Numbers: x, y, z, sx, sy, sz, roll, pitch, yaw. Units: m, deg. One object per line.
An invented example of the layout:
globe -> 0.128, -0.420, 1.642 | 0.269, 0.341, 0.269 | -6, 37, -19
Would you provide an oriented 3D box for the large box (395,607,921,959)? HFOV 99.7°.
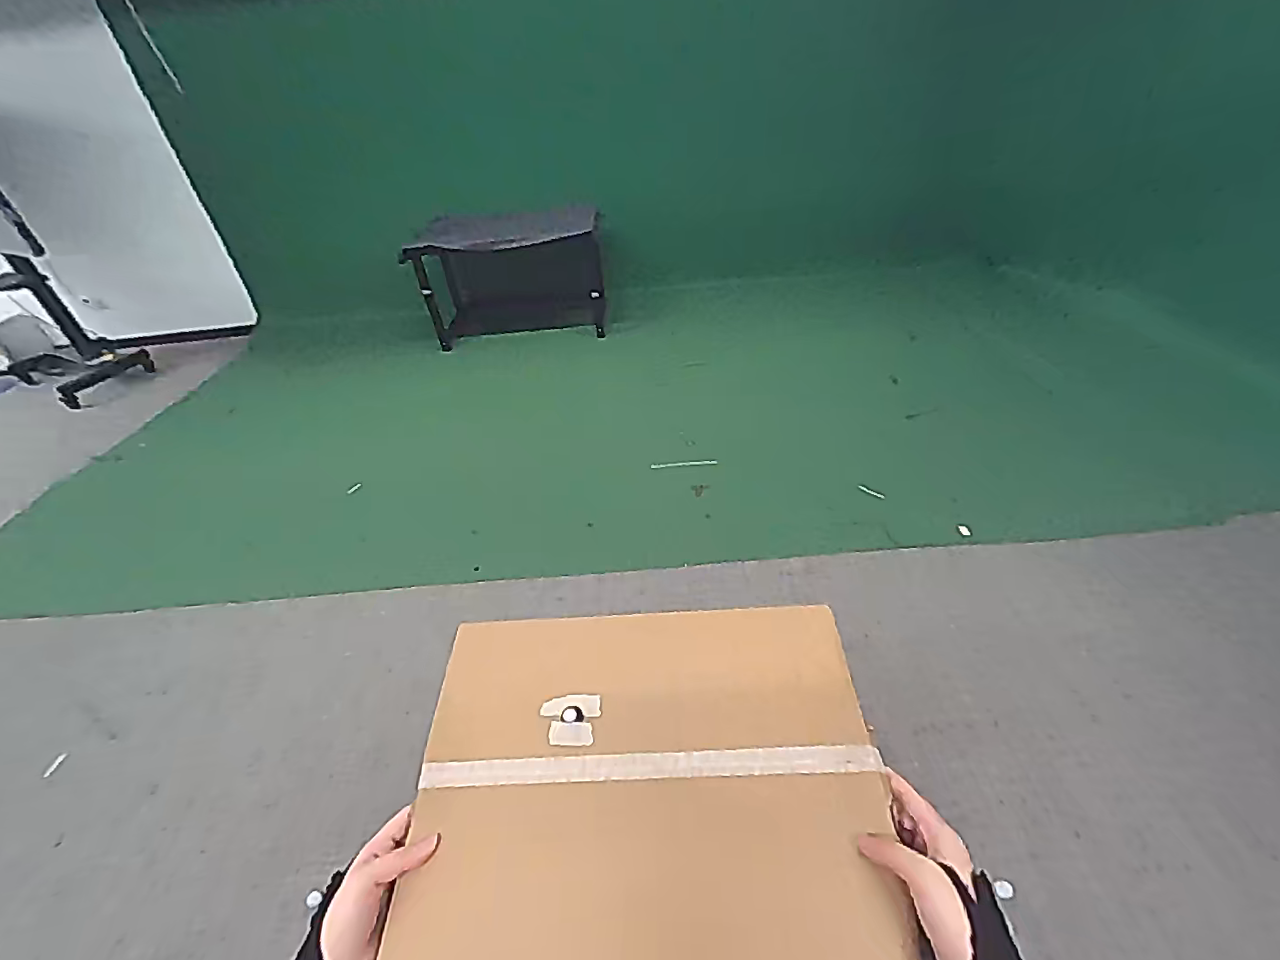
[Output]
large box -> 0.021, 0.370, 0.599 | 0.408, 0.320, 0.320 | -6, 45, 5
